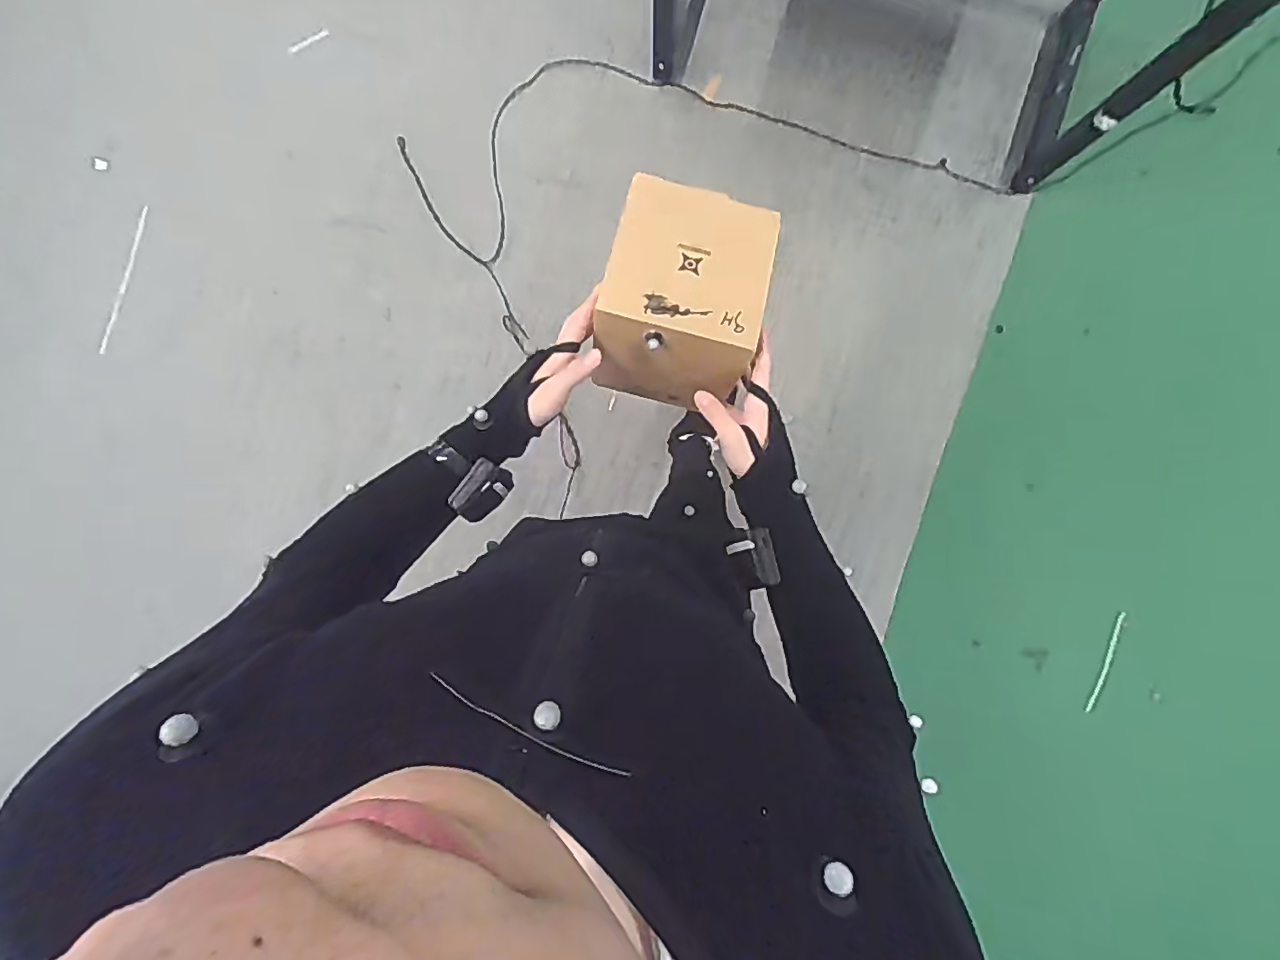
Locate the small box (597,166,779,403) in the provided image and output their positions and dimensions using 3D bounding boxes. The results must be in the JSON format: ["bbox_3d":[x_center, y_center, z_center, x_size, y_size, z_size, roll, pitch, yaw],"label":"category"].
[{"bbox_3d":[0.047,-0.217,0.636,0.168,0.176,0.179,13,73,-2],"label":"small box"}]

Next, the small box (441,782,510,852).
[{"bbox_3d":[-0.475,0.986,1.510,0.168,0.176,0.179,19,90,0],"label":"small box"}]
